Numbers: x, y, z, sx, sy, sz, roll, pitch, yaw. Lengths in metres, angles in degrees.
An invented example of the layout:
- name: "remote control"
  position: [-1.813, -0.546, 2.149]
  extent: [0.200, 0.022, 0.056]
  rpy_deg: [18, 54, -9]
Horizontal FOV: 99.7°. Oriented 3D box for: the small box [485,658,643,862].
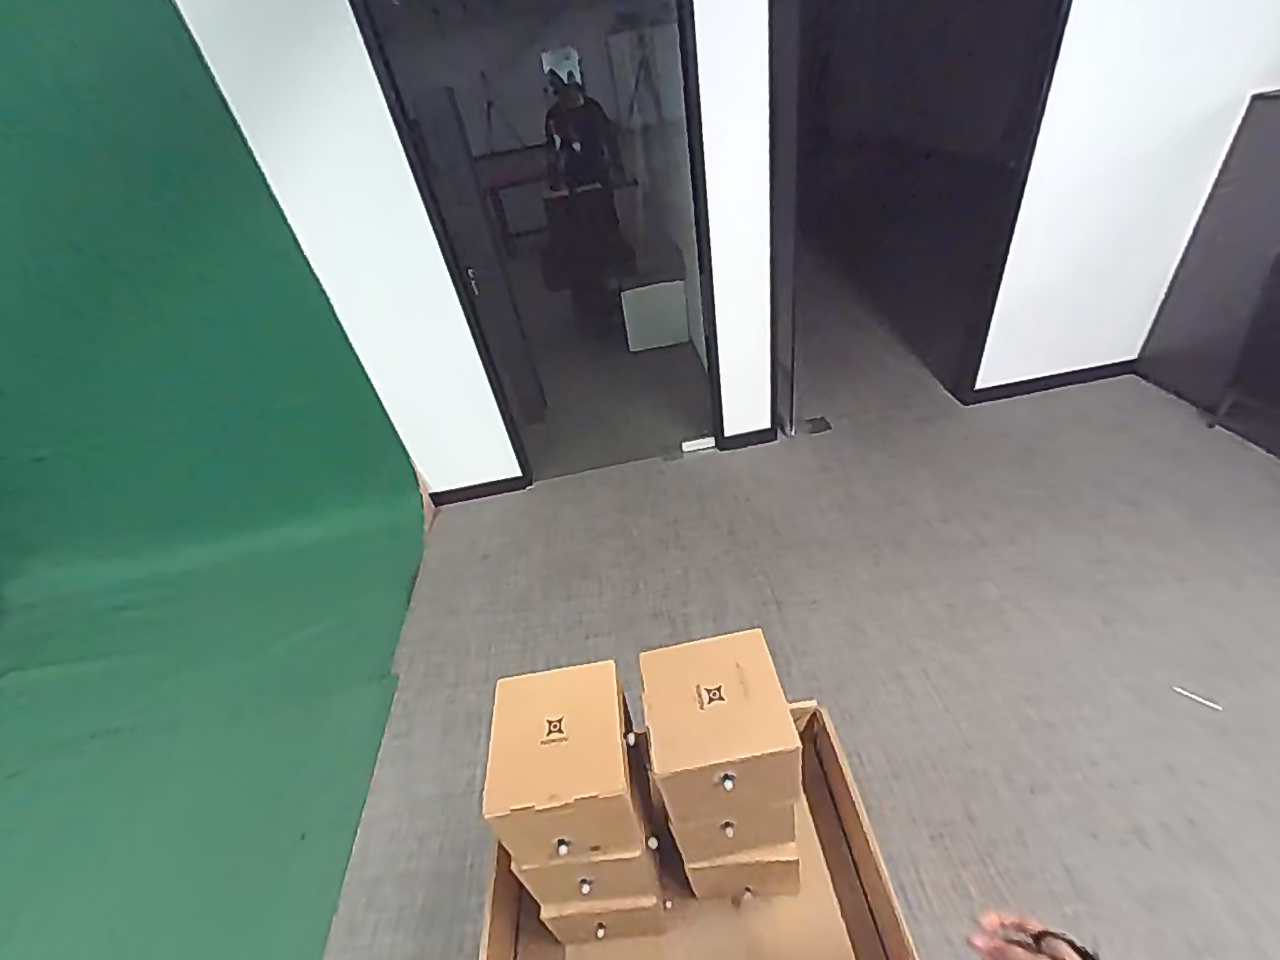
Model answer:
- name: "small box"
  position: [-0.093, 0.372, 0.724]
  extent: [0.168, 0.176, 0.179]
  rpy_deg: [-10, 38, 0]
